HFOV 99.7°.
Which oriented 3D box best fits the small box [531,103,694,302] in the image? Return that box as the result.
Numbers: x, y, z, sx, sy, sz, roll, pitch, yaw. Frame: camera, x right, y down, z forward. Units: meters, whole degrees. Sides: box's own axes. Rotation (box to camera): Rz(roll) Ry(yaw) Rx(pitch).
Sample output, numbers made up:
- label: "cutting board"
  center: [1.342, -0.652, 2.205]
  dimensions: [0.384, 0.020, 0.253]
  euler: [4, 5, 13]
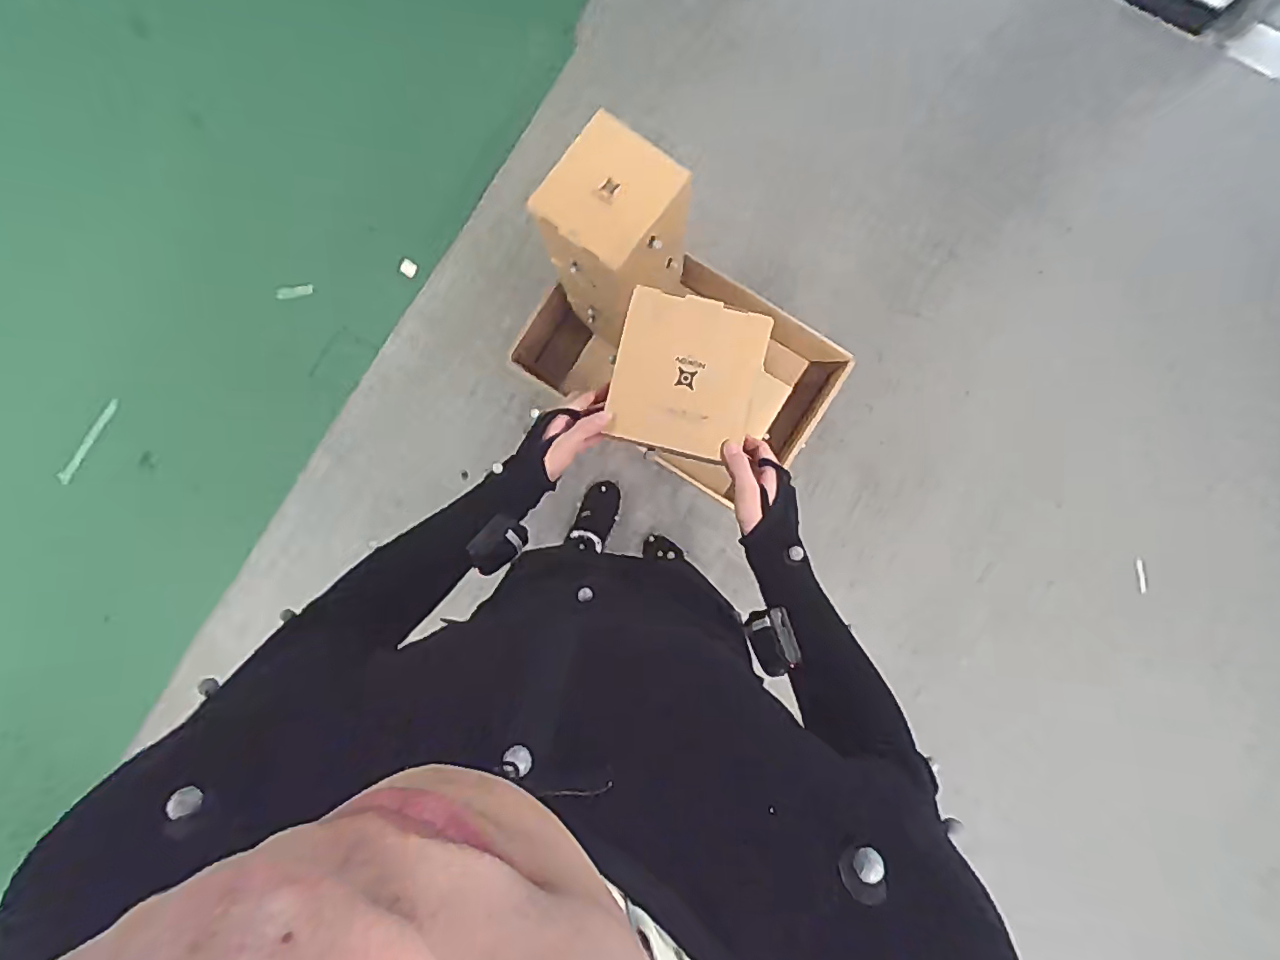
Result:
- label: "small box"
  center: [-0.037, -0.413, 0.836]
  dimensions: [0.168, 0.176, 0.179]
  euler: [38, 91, 3]

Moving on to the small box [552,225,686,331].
- label: "small box"
  center: [-0.035, -0.408, 0.999]
  dimensions: [0.168, 0.176, 0.179]
  euler: [37, 90, 4]

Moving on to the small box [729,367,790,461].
- label: "small box"
  center: [0.187, -0.153, 1.141]
  dimensions: [0.168, 0.176, 0.179]
  euler: [33, 88, 3]

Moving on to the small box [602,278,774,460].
- label: "small box"
  center: [0.052, -0.128, 0.691]
  dimensions: [0.168, 0.176, 0.179]
  euler: [13, 92, -1]

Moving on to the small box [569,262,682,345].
- label: "small box"
  center: [-0.027, -0.402, 1.161]
  dimensions: [0.168, 0.176, 0.179]
  euler: [34, 90, 5]
